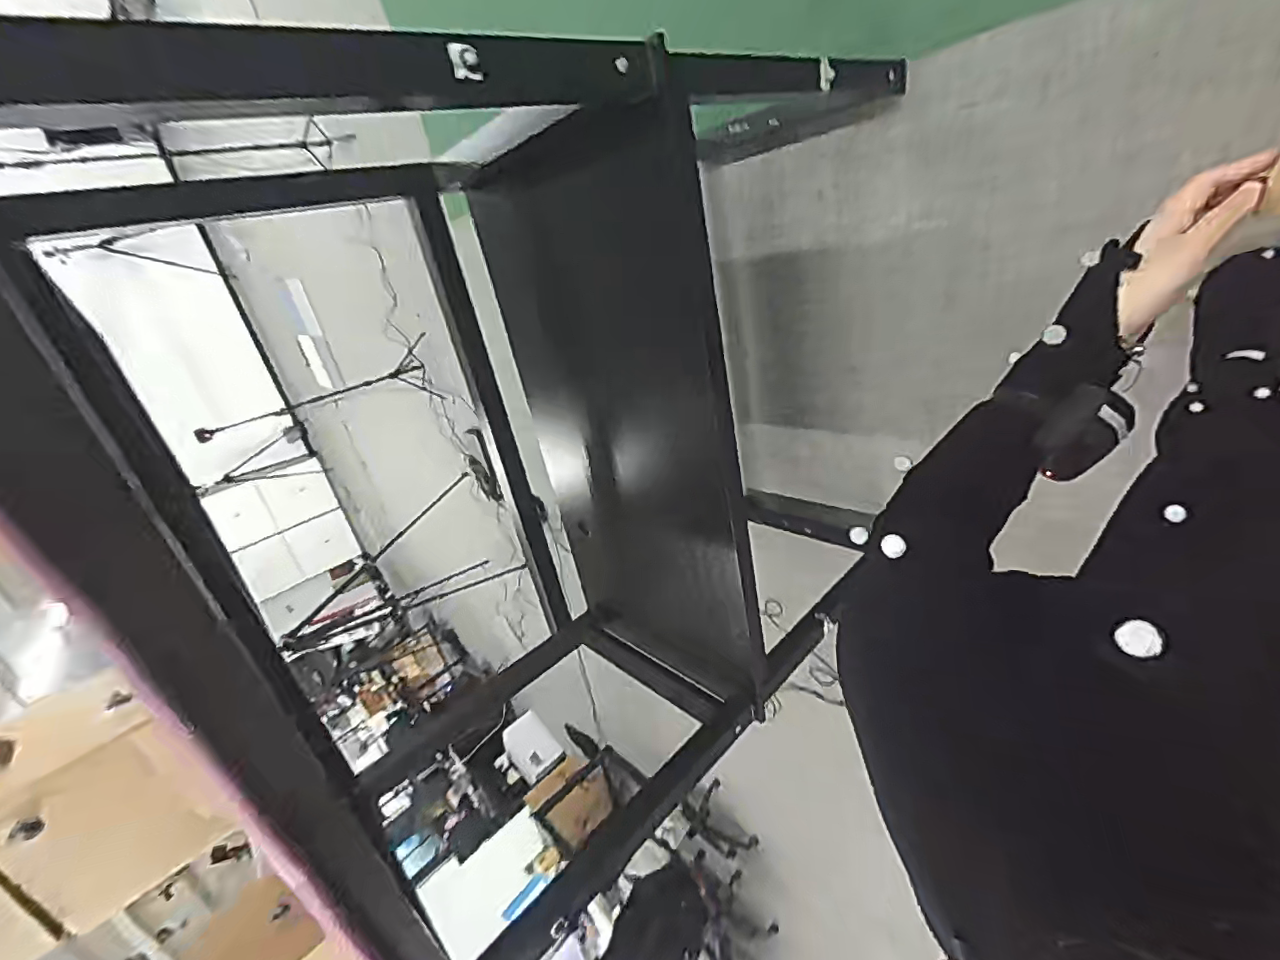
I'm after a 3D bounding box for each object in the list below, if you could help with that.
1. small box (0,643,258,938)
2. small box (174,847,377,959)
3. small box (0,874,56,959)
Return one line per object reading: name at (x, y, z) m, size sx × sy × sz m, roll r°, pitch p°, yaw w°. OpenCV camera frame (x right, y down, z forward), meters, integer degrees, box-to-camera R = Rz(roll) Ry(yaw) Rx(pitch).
small box at (-0.548, 0.316, 0.585) m, size 0.168 × 0.176 × 0.179 m, roll 16°, pitch 125°, yaw 48°
small box at (-0.465, 0.646, 0.710) m, size 0.168 × 0.176 × 0.179 m, roll 13°, pitch 123°, yaw 46°
small box at (-0.668, 0.375, 0.493) m, size 0.179 × 0.176 × 0.168 m, roll 14°, pitch 122°, yaw 50°
